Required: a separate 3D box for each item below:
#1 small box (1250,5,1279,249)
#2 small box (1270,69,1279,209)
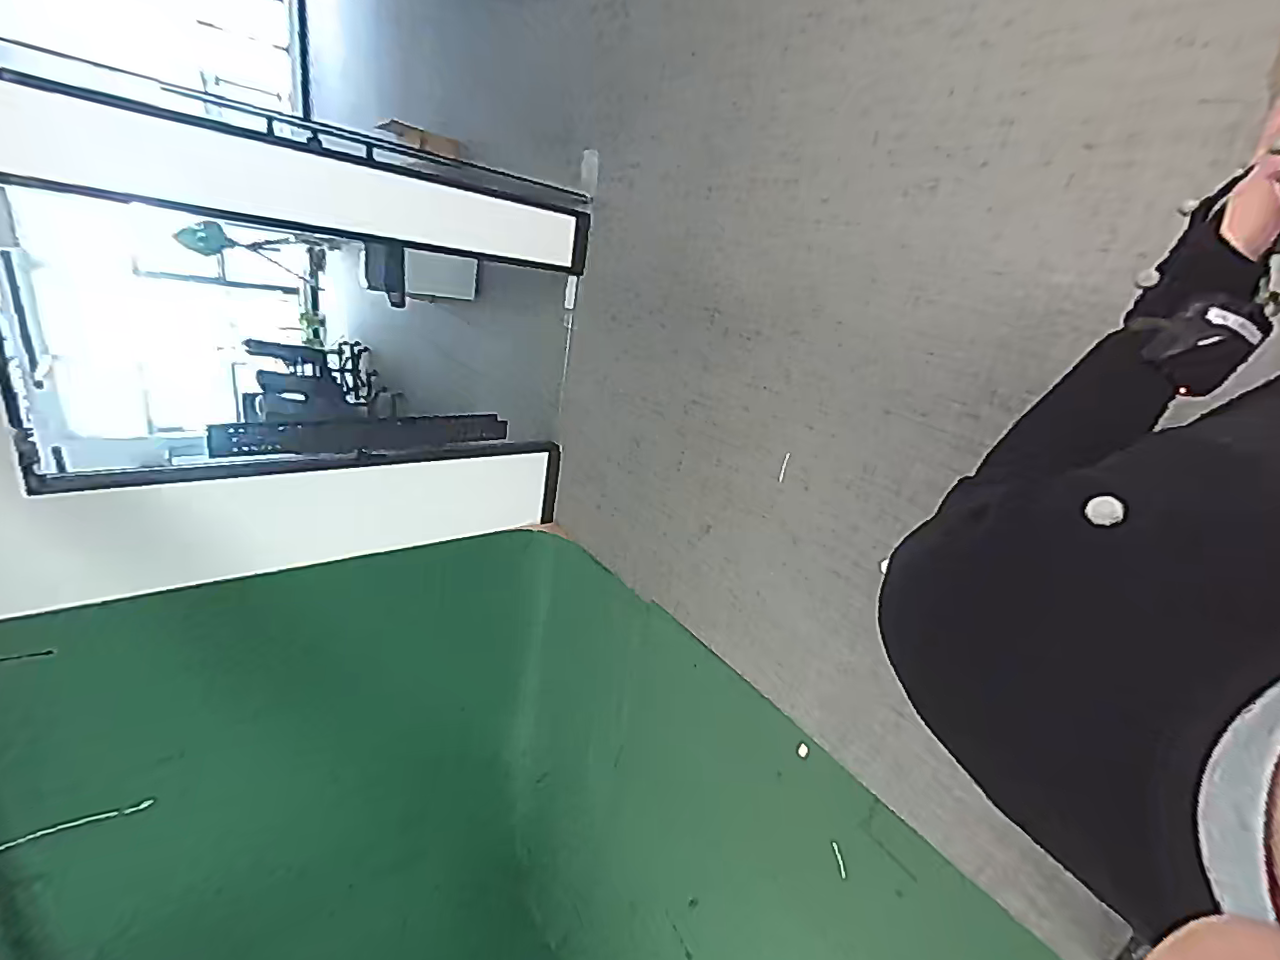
[{"bbox_3d":[0.595,-0.286,0.408,0.168,0.176,0.179,2,101,44],"label":"small box"},{"bbox_3d":[0.482,-0.261,0.294,0.168,0.176,0.179,3,101,43],"label":"small box"}]
